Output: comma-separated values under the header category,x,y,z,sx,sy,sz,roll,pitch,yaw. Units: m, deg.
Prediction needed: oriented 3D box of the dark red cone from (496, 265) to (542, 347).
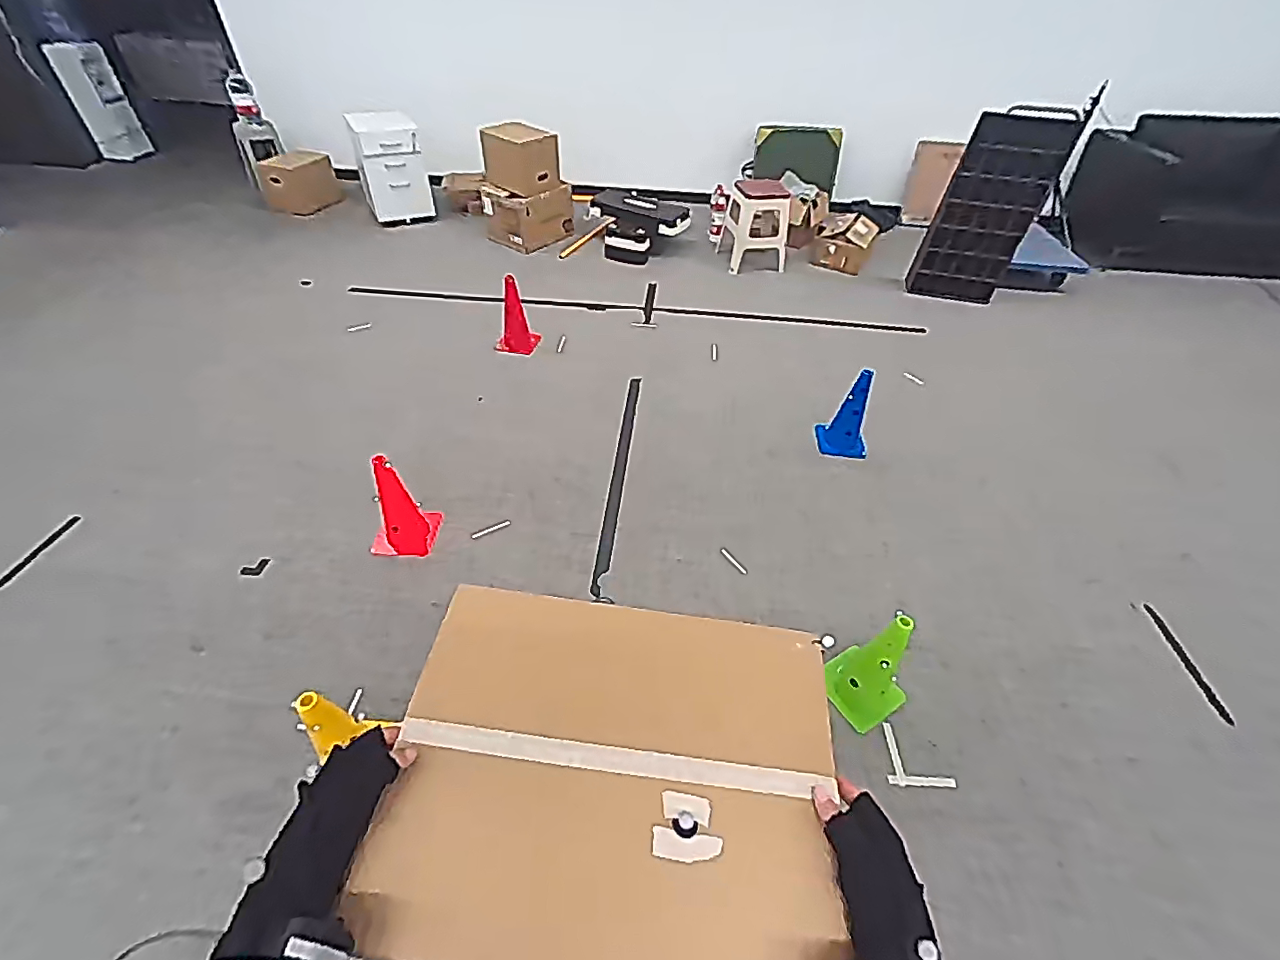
category,x,y,z,sx,sy,sz,roll,pitch,yaw
dark red cone,-0.613,-0.863,2.676,0.201,0.394,0.202,10,45,5

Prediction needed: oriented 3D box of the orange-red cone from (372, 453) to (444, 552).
category,x,y,z,sx,sy,sz,roll,pitch,yaw
orange-red cone,-0.801,0.053,1.773,0.198,0.360,0.199,3,46,1

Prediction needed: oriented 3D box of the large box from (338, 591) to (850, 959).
category,x,y,z,sx,sy,sz,roll,pitch,yaw
large box,-0.032,0.360,0.615,0.408,0.320,0.320,8,49,2

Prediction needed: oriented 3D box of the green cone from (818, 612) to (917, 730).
category,x,y,z,sx,sy,sz,roll,pitch,yaw
green cone,0.640,0.470,1.437,0.202,0.368,0.200,-22,51,-25

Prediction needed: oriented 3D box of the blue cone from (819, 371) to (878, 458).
category,x,y,z,sx,sy,sz,roll,pitch,yaw
blue cone,0.893,-0.286,2.241,0.192,0.380,0.193,8,45,3
